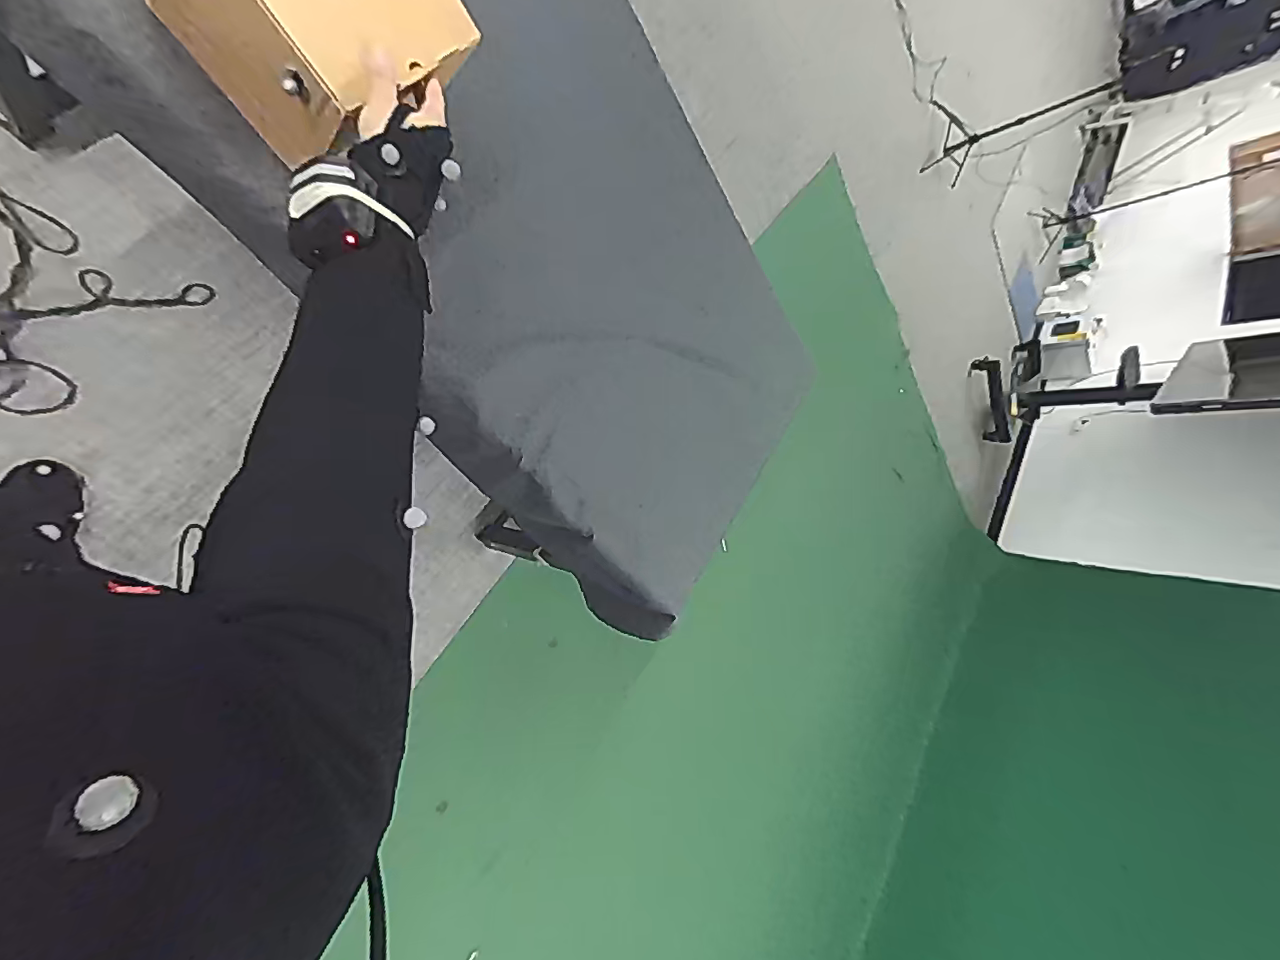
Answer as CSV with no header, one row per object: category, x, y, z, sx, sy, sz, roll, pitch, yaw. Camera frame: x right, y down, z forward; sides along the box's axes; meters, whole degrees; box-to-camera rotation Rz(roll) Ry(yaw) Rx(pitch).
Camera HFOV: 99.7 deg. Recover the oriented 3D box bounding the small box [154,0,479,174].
small box,-0.287,-0.416,0.478,0.168,0.176,0.179,-54,125,-25
